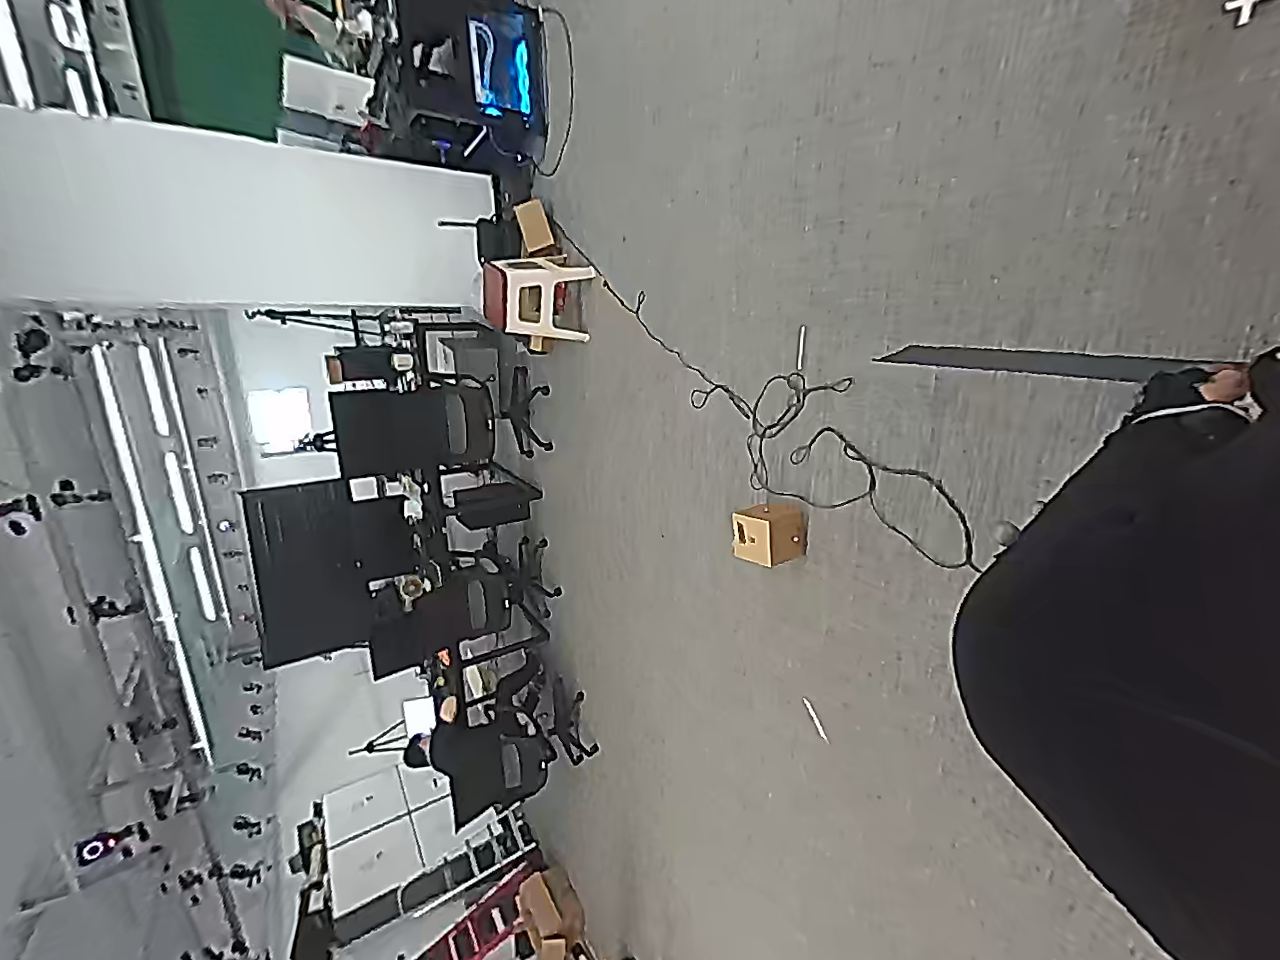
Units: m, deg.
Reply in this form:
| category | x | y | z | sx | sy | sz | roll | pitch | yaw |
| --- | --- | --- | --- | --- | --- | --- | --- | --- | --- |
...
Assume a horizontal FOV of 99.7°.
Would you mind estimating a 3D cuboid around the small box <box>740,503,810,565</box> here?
| category | x | y | z | sx | sy | sz | roll | pitch | yaw |
| --- | --- | --- | --- | --- | --- | --- | --- | --- | --- |
| small box | 0.473 | 0.183 | 1.895 | 0.179 | 0.176 | 0.168 | 12 | 111 | 56 |
